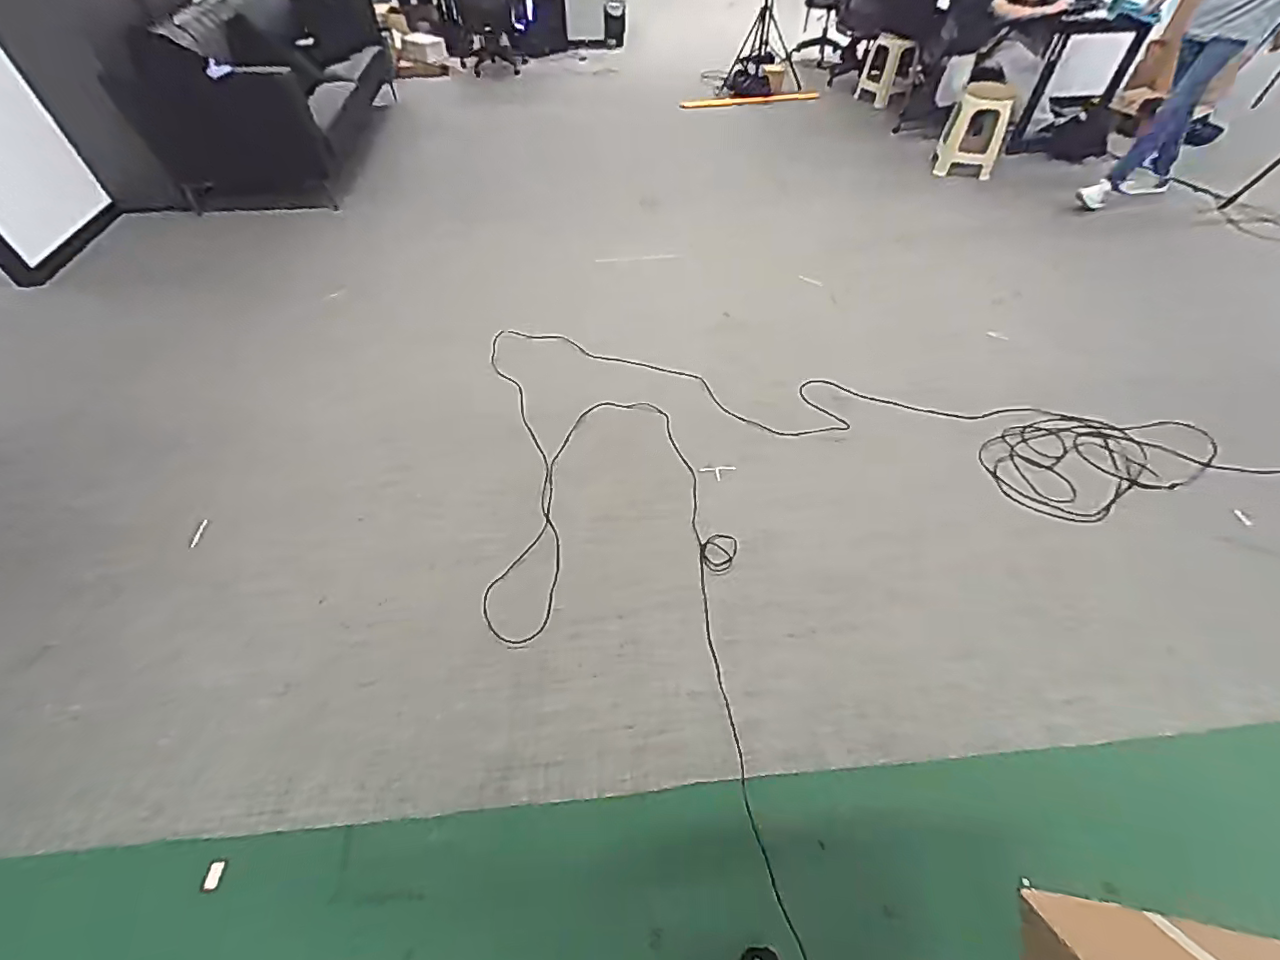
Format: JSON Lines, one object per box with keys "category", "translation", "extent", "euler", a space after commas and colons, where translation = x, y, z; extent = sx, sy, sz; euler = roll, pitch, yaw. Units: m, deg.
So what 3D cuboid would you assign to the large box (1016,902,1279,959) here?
{"category": "large box", "translation": [0.629, 0.719, 0.520], "extent": [0.320, 0.408, 0.320], "euler": [6, 80, 12]}
